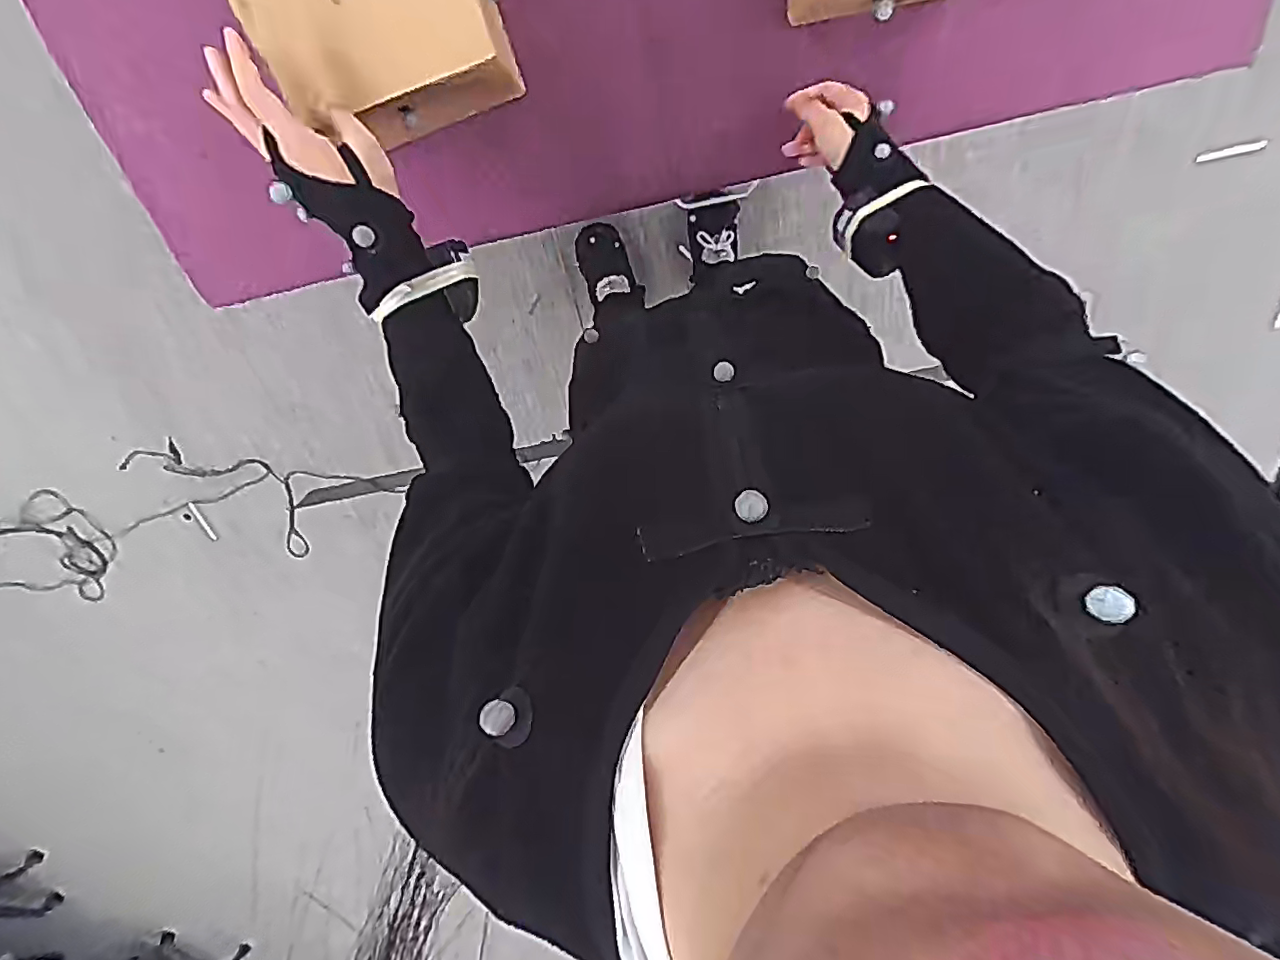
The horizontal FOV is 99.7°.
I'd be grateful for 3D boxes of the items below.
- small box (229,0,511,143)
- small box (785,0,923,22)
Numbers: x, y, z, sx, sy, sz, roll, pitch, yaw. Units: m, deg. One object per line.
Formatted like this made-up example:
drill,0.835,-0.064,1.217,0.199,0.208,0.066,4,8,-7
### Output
small box,-0.225,-0.413,0.466,0.179,0.176,0.168,-17,118,7
small box,0.215,-0.512,0.434,0.168,0.176,0.179,-9,119,2
